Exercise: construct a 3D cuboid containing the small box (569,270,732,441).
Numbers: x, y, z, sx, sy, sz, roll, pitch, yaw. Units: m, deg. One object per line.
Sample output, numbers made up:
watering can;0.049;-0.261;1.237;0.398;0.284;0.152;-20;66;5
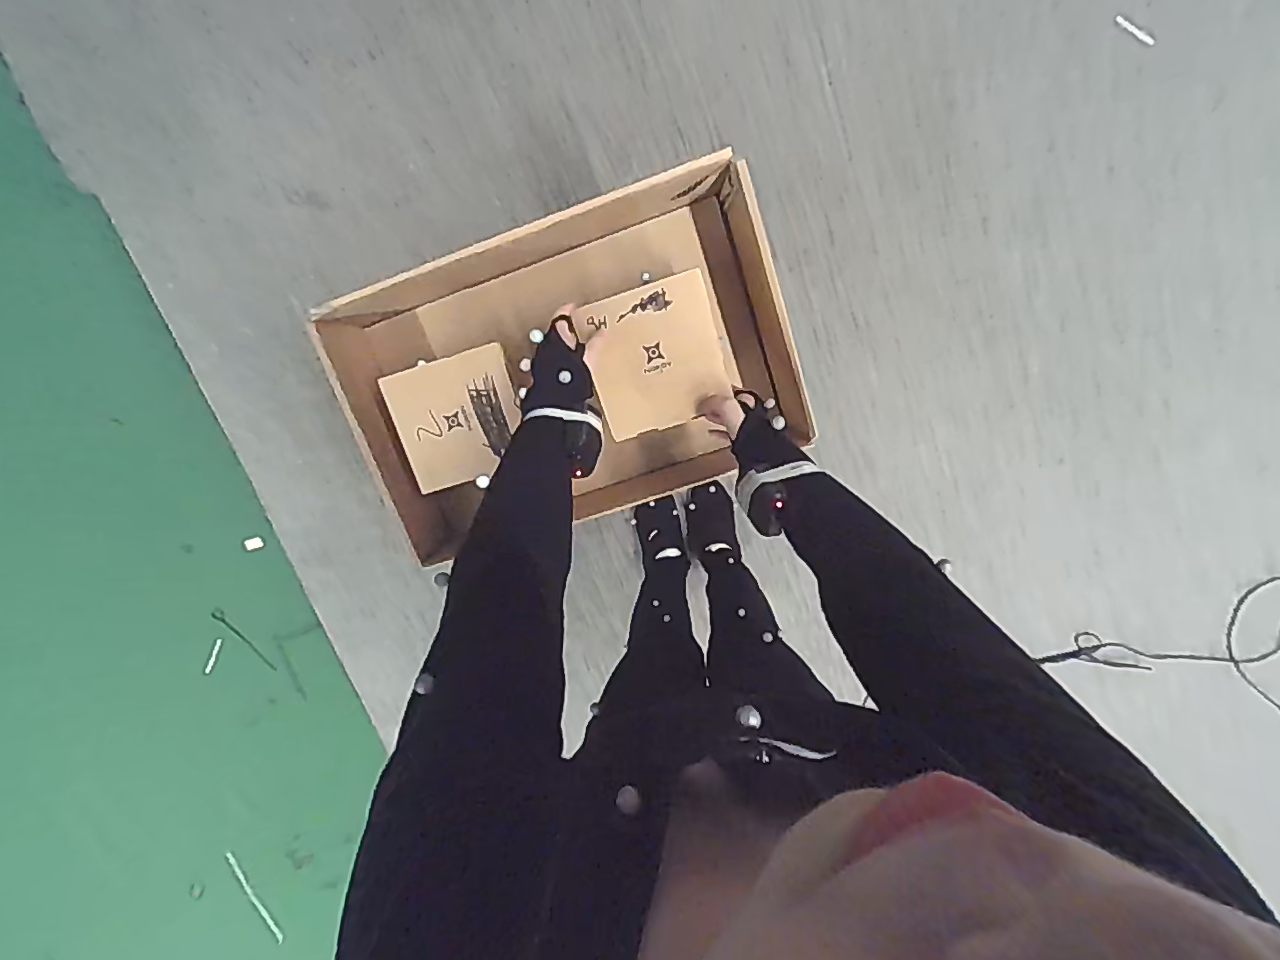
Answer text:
small box;0.020;-0.177;0.742;0.168;0.176;0.179;-16;109;8
